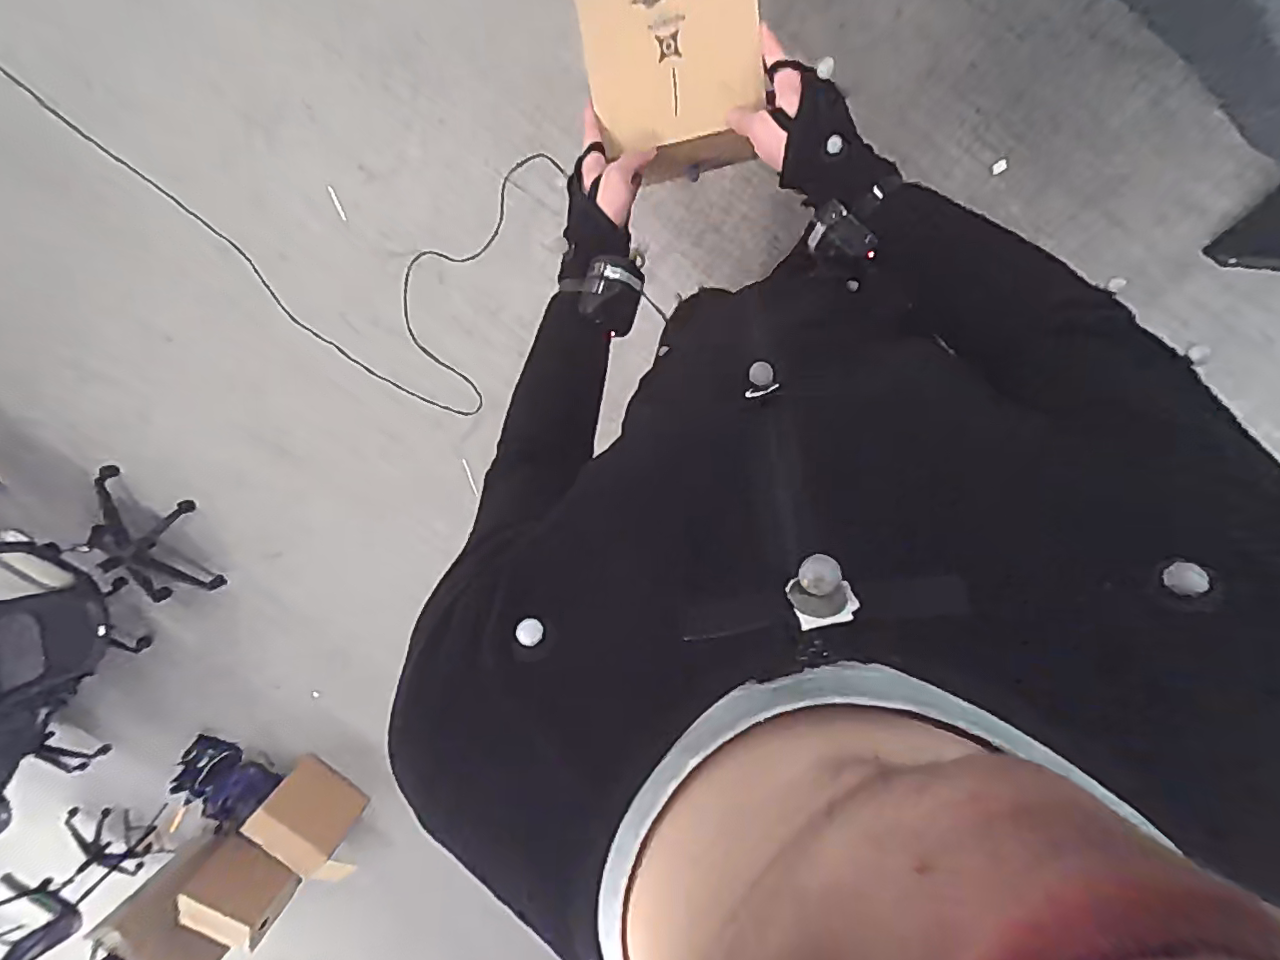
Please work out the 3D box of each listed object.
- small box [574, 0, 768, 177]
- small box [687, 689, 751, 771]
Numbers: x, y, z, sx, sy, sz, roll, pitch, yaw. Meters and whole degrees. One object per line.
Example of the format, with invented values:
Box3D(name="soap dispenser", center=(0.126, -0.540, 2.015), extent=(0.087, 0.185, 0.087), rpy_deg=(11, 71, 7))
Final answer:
Box3D(name="small box", center=(0.040, -0.434, 0.551), extent=(0.168, 0.176, 0.179), rpy_deg=(-4, 109, 15))
Box3D(name="small box", center=(0.286, 0.887, 1.933), extent=(0.168, 0.176, 0.179), rpy_deg=(27, 119, 2))
